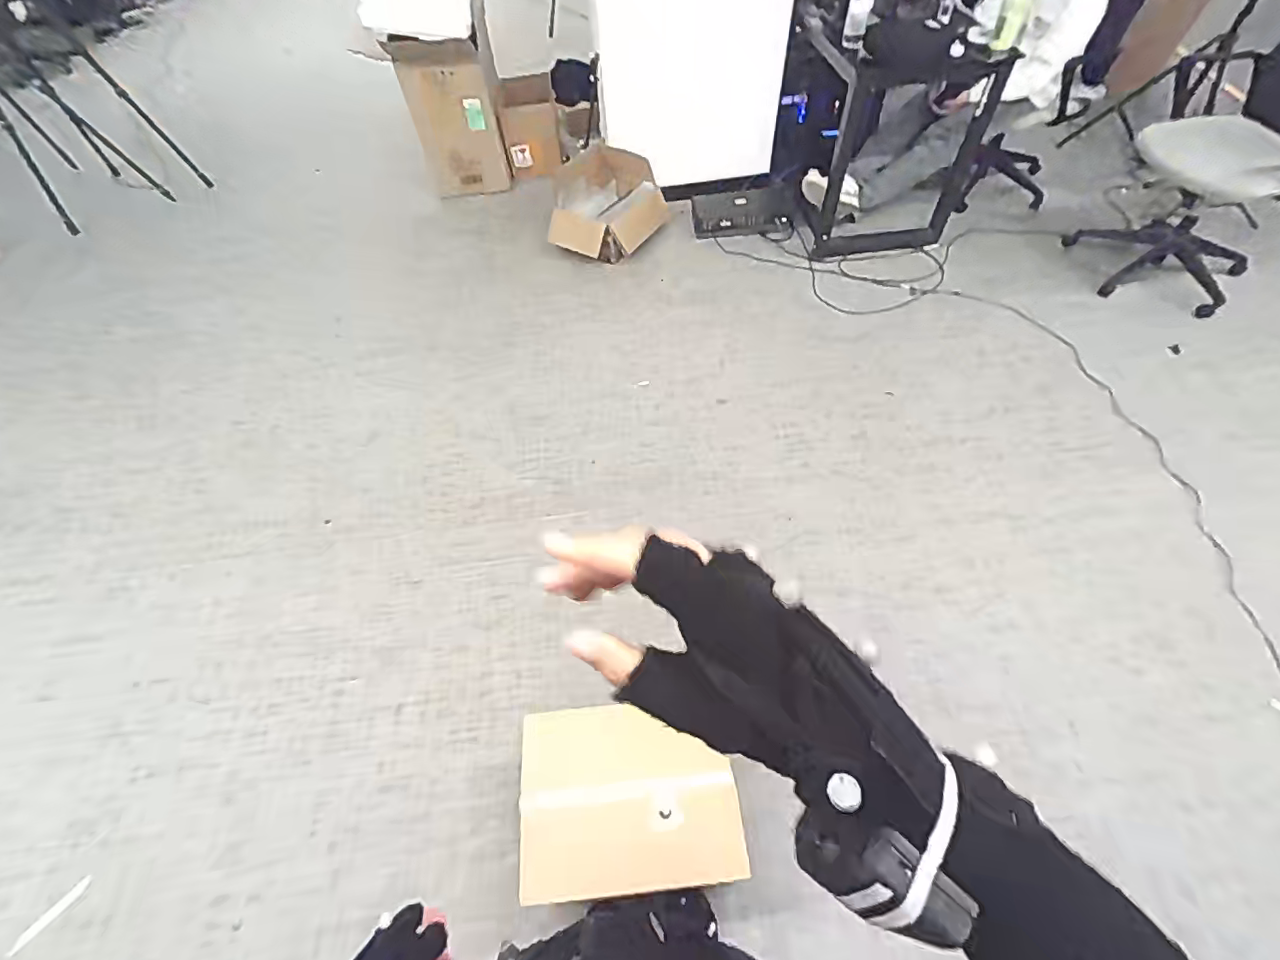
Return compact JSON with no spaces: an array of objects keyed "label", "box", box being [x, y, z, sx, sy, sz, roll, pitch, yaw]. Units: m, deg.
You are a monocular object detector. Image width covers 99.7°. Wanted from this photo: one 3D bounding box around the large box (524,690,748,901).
[{"label":"large box","box":[-0.017,0.669,1.146,0.408,0.320,0.320,-6,55,-2]}]
